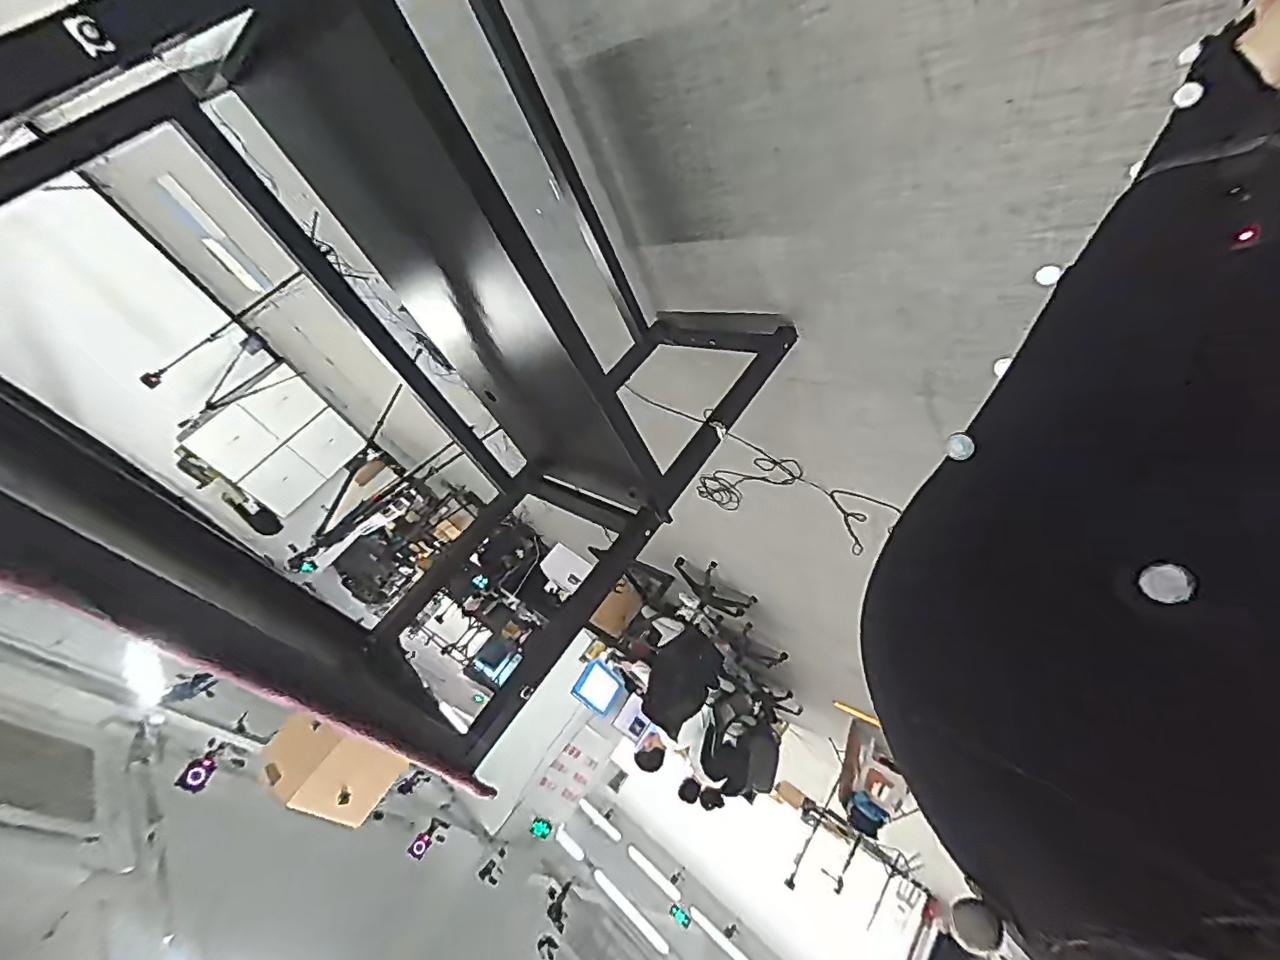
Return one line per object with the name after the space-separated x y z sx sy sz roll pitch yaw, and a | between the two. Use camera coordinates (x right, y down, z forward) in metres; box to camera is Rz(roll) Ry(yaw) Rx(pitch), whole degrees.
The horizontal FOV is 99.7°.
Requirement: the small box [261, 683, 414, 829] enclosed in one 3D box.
-0.585 0.535 1.061 0.168 0.176 0.179 17 150 42 | small box
